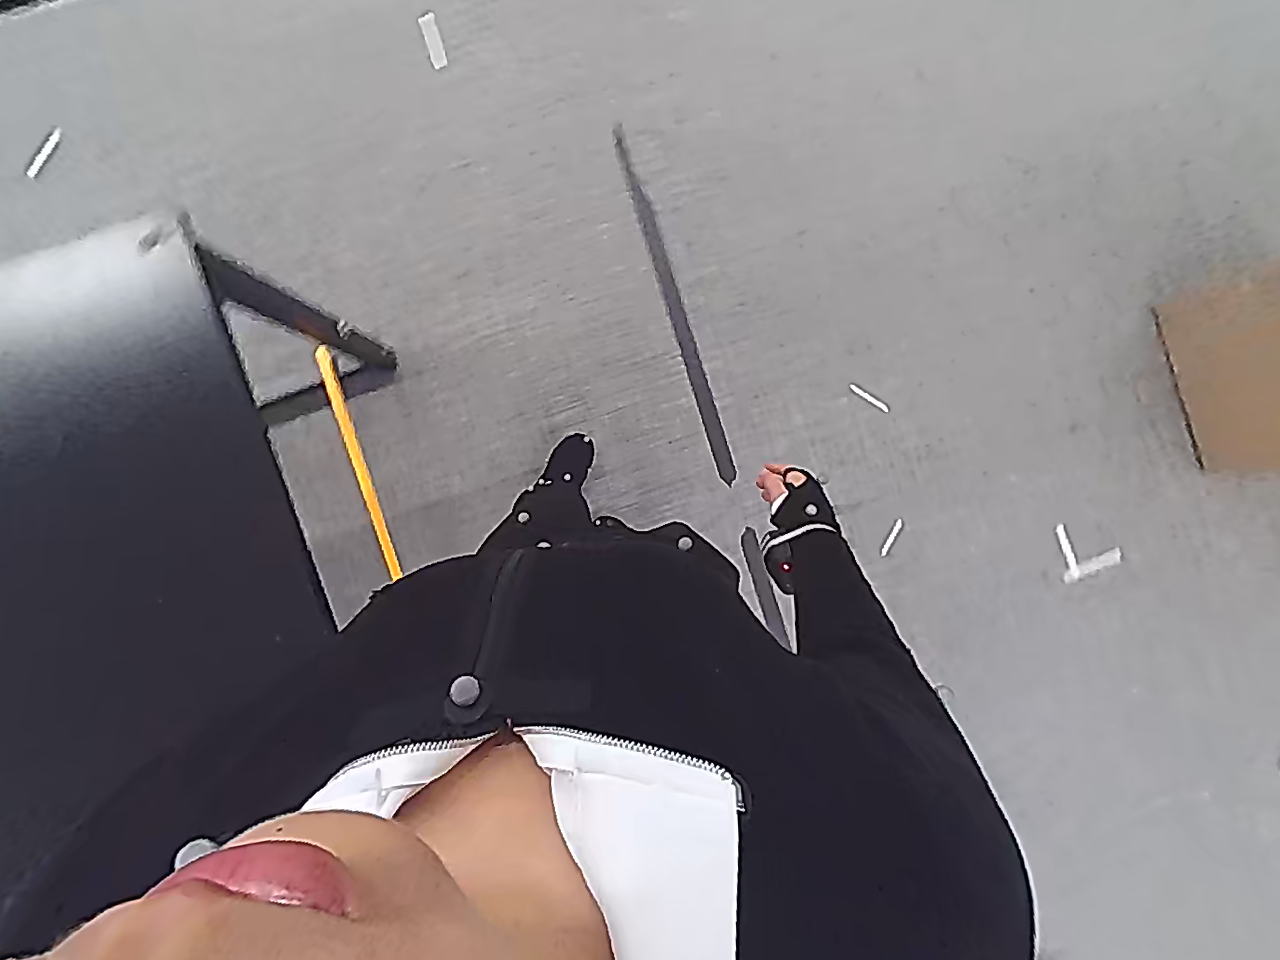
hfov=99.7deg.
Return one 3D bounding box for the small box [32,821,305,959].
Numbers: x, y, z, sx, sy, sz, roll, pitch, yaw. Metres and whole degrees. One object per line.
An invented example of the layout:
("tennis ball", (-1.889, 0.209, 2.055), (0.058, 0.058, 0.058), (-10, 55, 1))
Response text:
("small box", (-0.551, 0.569, 0.660), (0.168, 0.176, 0.179), (-18, 89, -2))
